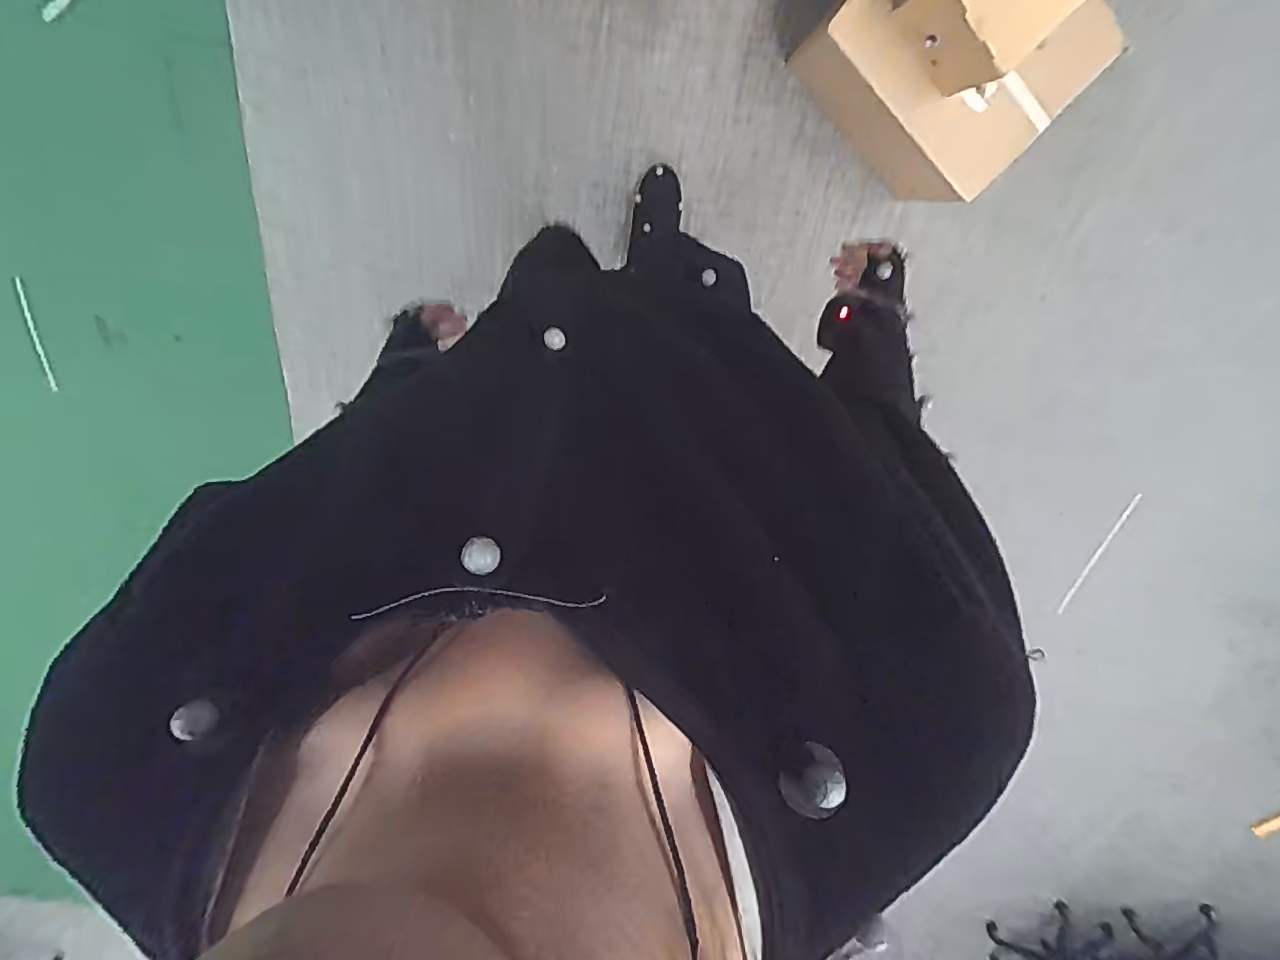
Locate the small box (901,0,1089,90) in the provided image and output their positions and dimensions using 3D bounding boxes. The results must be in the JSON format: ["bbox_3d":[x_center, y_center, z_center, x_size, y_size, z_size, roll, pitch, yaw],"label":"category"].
[{"bbox_3d":[0.520,-0.710,0.776,0.168,0.176,0.179,41,112,-19],"label":"small box"}]

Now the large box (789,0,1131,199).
[{"bbox_3d":[0.553,-0.797,1.005,0.408,0.320,0.320,36,114,-18],"label":"large box"}]
